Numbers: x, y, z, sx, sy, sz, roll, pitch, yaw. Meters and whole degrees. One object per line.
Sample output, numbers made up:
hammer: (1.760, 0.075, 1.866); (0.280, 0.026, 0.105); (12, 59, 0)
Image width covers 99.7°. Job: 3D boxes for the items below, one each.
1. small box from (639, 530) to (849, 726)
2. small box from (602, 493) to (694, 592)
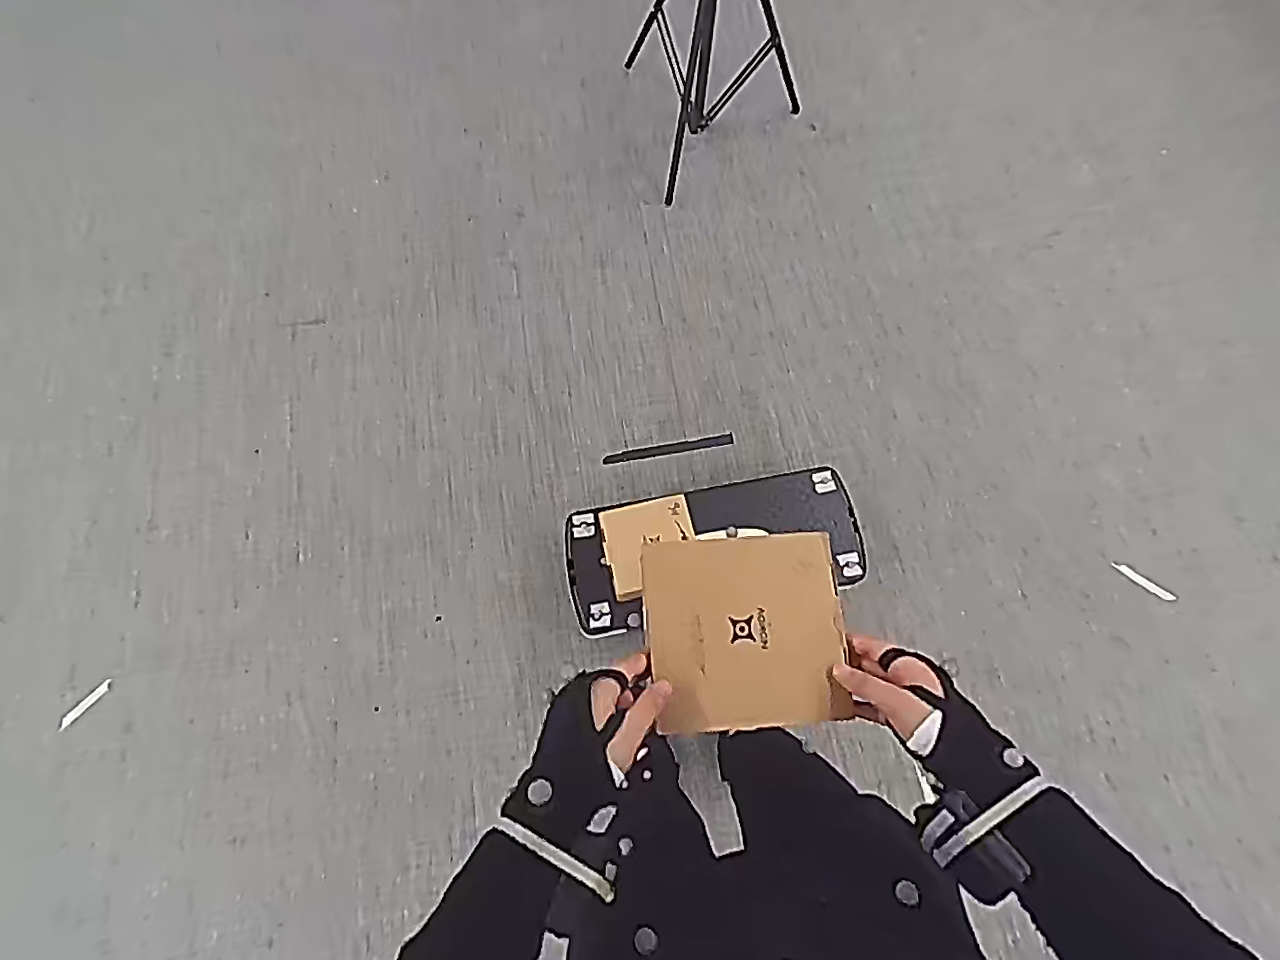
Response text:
small box: (0.092, 0.148, 0.568); (0.179, 0.176, 0.168); (-4, 76, -2)
small box: (0.019, 0.143, 1.127); (0.179, 0.176, 0.168); (-13, 74, -4)
